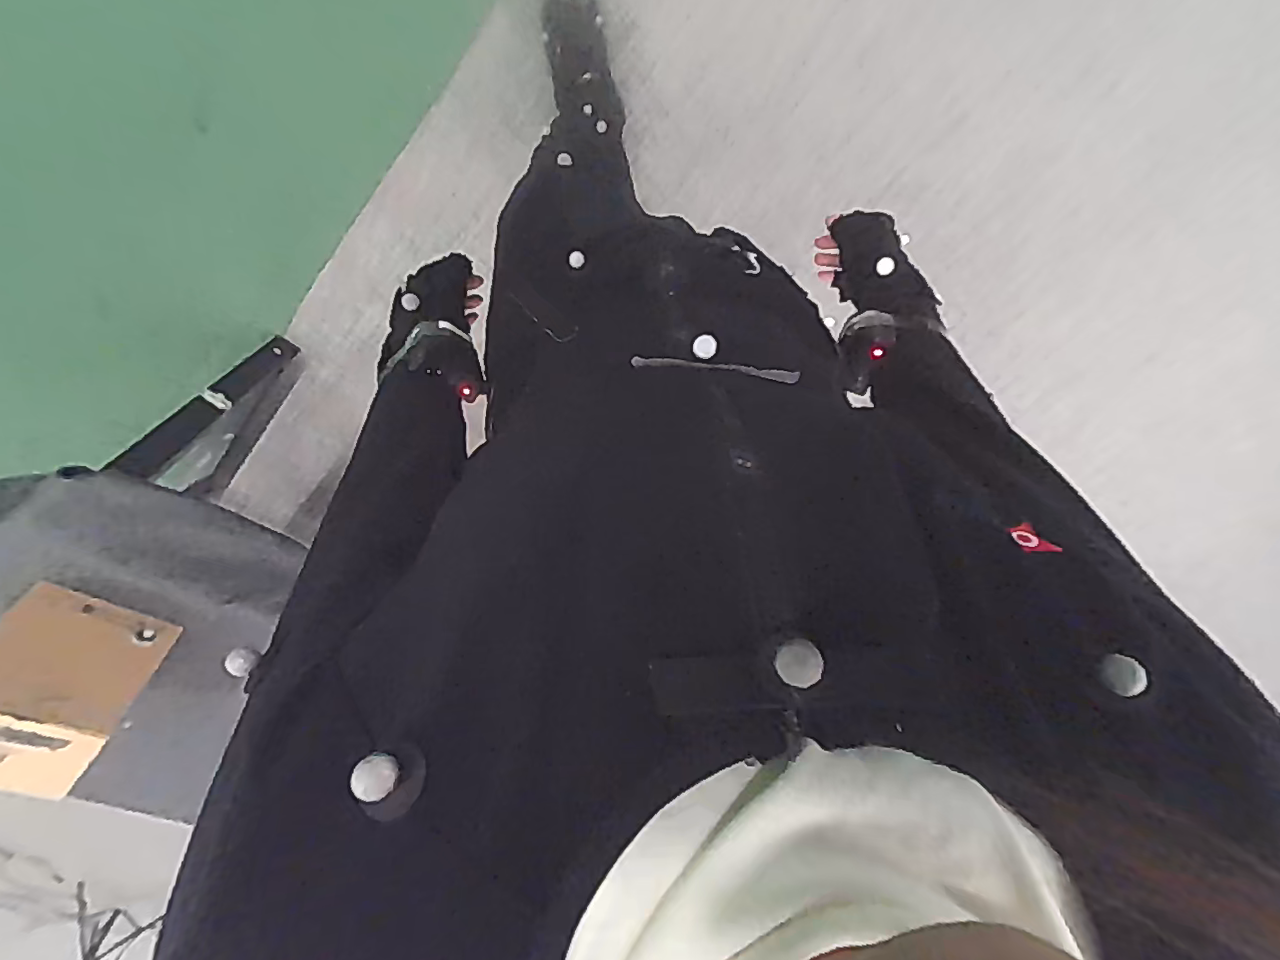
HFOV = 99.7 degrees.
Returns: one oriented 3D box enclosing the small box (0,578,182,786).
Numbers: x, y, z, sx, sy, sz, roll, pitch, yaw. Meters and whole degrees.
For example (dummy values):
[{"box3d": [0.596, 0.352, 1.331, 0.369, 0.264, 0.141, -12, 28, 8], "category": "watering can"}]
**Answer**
[{"box3d": [-0.751, 0.259, 0.703, 0.168, 0.176, 0.179, 36, 114, -29], "category": "small box"}]
